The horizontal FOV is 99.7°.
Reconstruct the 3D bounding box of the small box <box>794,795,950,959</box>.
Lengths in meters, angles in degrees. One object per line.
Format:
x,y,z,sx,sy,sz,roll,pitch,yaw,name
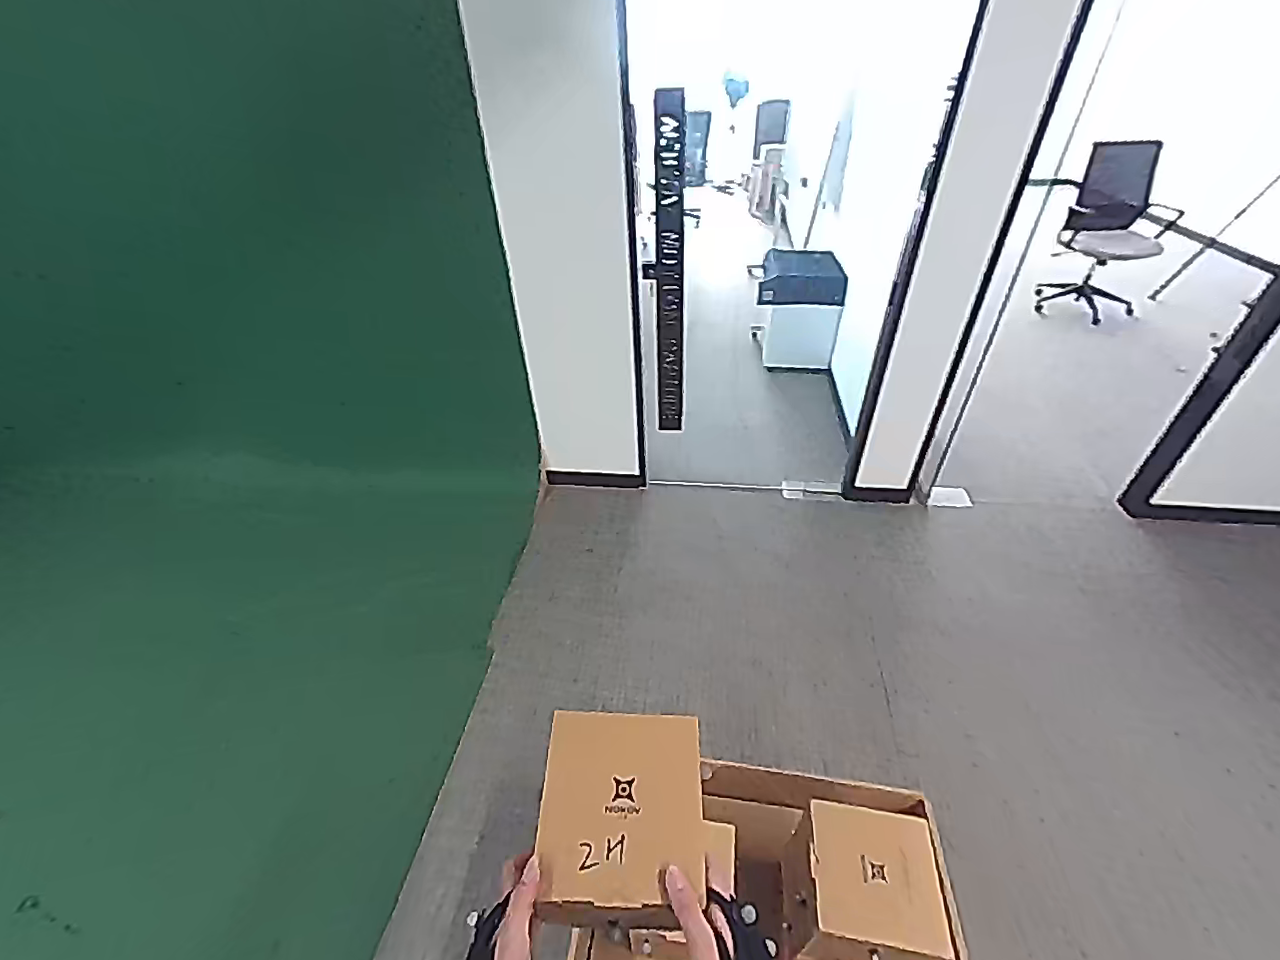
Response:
0.332,0.612,0.819,0.179,0.176,0.168,7,41,8,small box

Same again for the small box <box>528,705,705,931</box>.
-0.023,0.377,0.605,0.168,0.176,0.179,4,45,-1,small box
